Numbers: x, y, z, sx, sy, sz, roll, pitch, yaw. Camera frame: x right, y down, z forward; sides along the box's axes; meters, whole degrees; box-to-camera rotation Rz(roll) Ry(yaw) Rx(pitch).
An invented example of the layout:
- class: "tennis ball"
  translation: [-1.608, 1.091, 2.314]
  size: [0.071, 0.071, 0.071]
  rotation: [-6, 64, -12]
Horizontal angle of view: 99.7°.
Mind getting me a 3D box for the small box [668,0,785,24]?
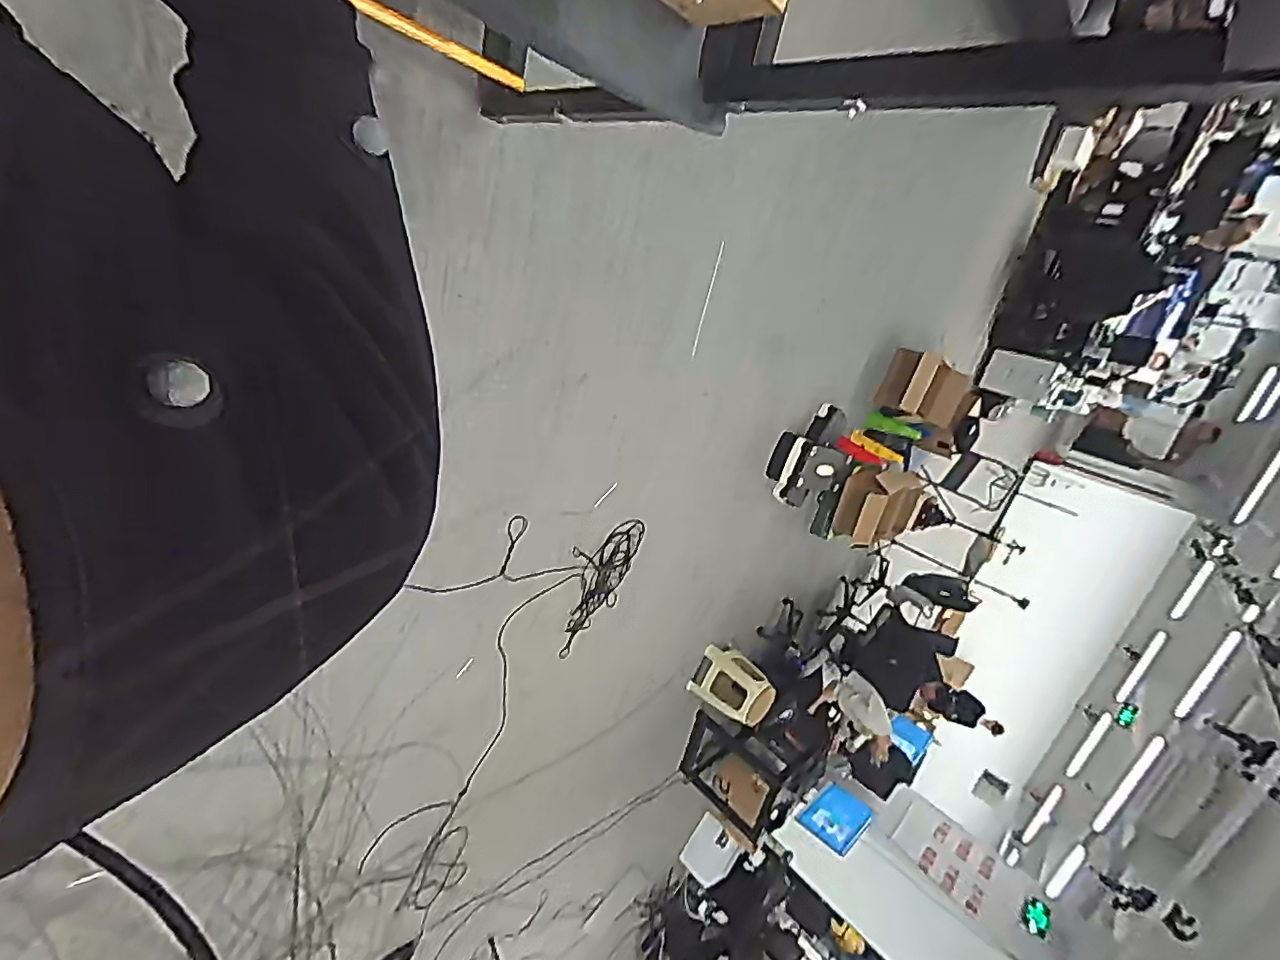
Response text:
- class: "small box"
  translation: [0.107, -0.762, 0.732]
  size: [0.168, 0.176, 0.179]
  rotation: [-9, 120, -45]
